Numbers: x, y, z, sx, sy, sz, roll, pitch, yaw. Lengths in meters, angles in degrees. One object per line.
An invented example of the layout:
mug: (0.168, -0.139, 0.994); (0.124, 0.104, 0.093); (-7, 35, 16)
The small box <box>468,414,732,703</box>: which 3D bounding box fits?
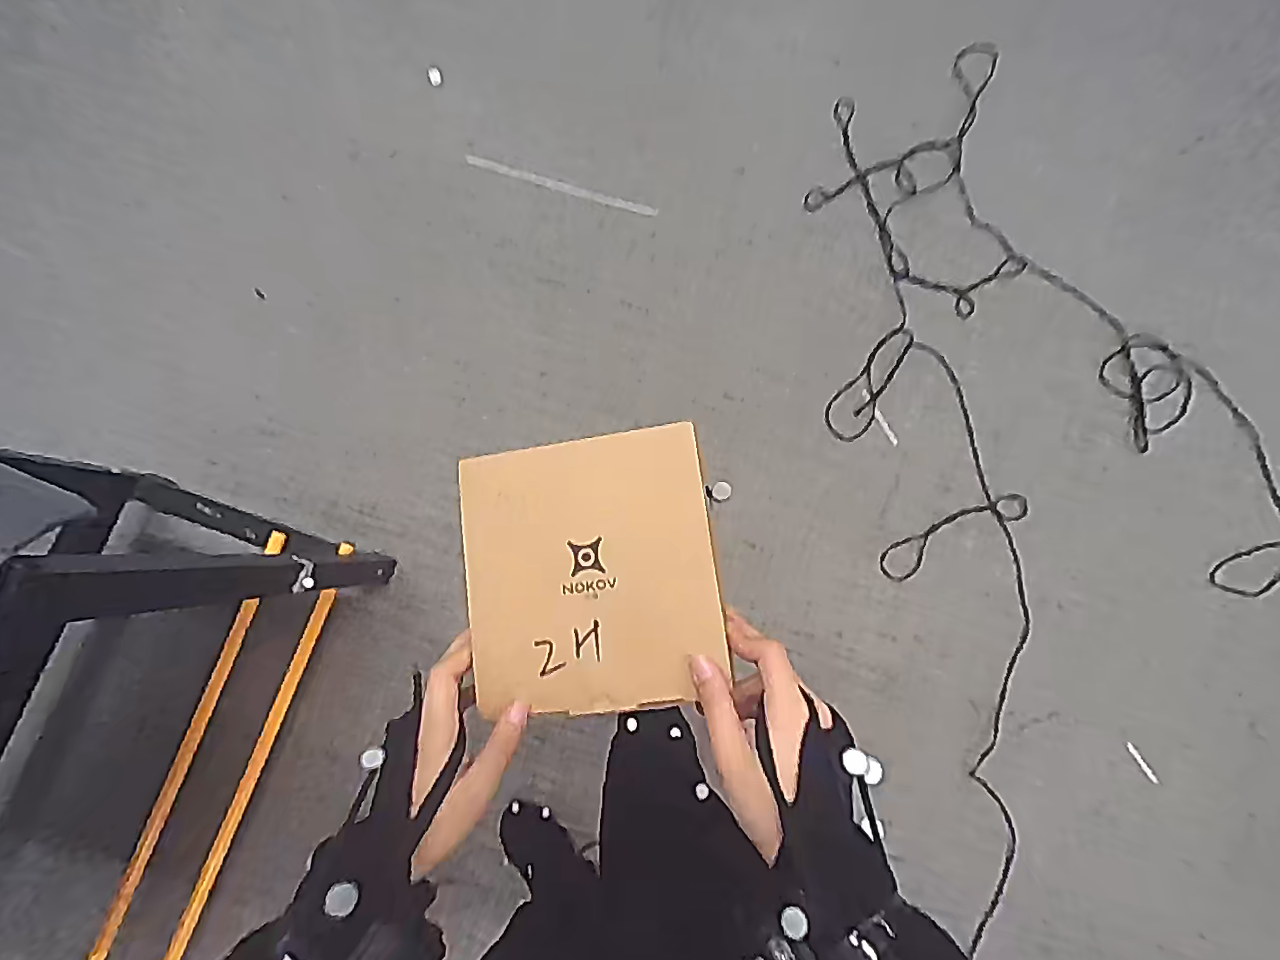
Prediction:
small box: (-0.020, 0.063, 0.434); (0.168, 0.176, 0.179); (-9, 81, 9)
